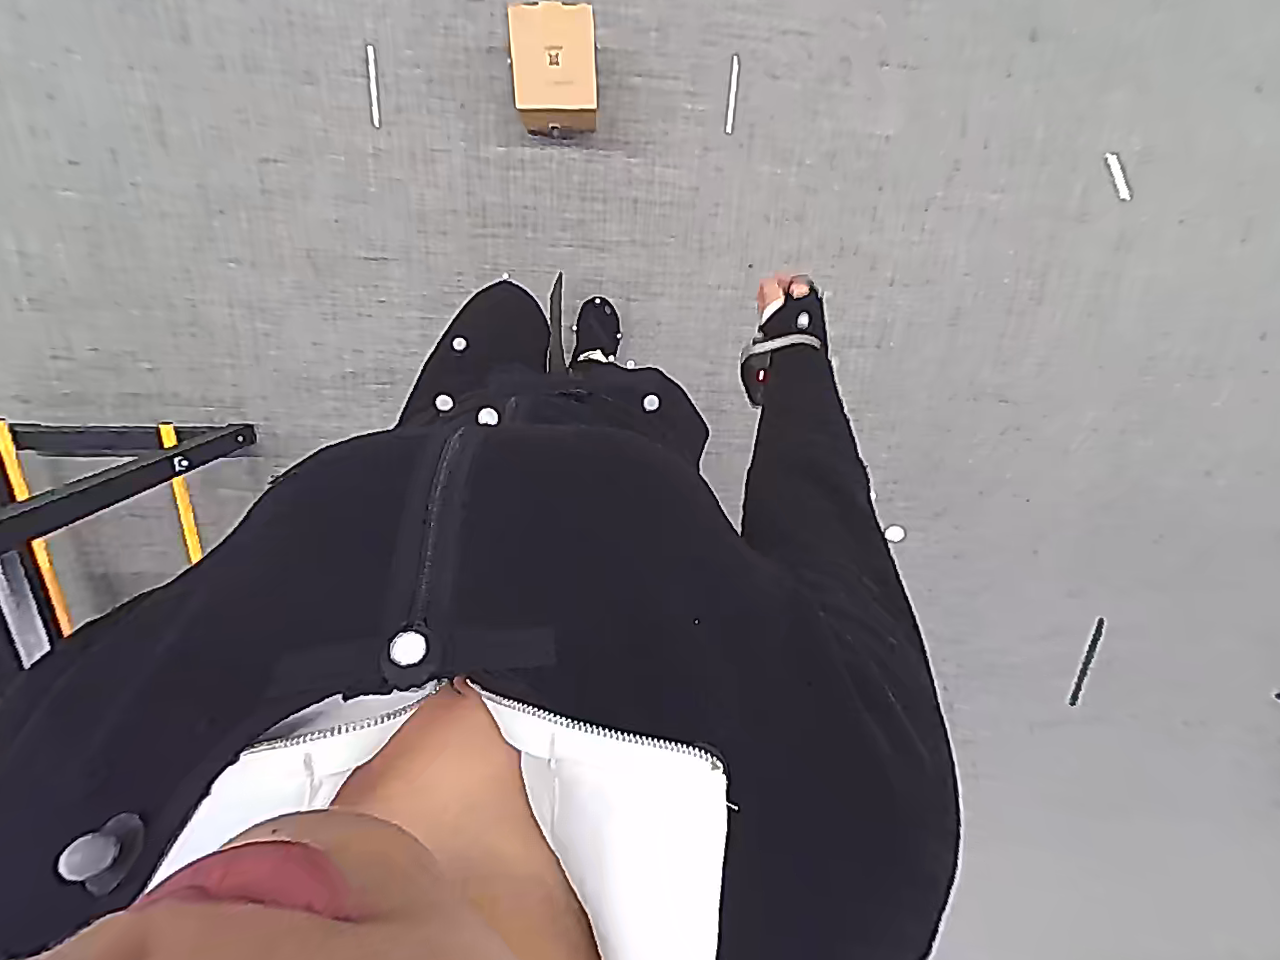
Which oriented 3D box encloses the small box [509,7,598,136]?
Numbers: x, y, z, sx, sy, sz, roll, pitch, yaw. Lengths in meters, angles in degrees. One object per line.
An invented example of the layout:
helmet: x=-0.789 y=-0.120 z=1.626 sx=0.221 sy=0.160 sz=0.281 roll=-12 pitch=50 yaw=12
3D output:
small box: x=-0.175 y=-0.848 z=1.137 sx=0.168 sy=0.176 sz=0.179 roll=-3 pitch=110 yaw=-3
